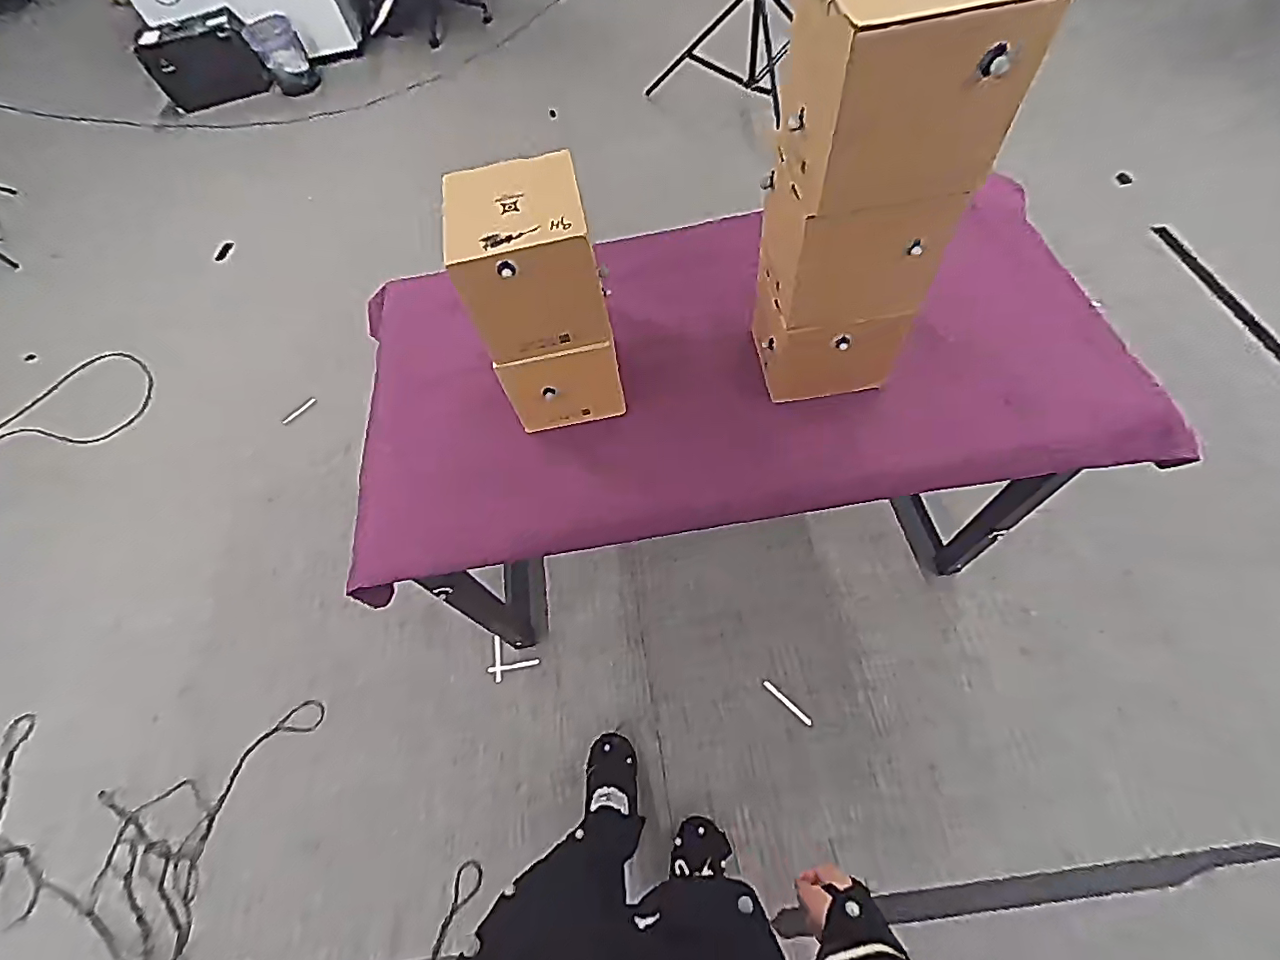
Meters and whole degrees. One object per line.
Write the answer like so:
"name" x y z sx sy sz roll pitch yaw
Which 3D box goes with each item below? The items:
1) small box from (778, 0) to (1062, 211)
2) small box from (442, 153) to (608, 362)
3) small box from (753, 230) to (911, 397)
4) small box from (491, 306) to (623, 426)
"small box" 0.248 -0.400 0.533 0.179 0.176 0.168 -9 61 2
"small box" -0.145 -0.286 0.710 0.168 0.176 0.179 -13 59 1
"small box" 0.274 -0.244 0.822 0.179 0.176 0.168 -9 62 2
"small box" -0.127 -0.201 0.849 0.168 0.176 0.179 -12 60 1
